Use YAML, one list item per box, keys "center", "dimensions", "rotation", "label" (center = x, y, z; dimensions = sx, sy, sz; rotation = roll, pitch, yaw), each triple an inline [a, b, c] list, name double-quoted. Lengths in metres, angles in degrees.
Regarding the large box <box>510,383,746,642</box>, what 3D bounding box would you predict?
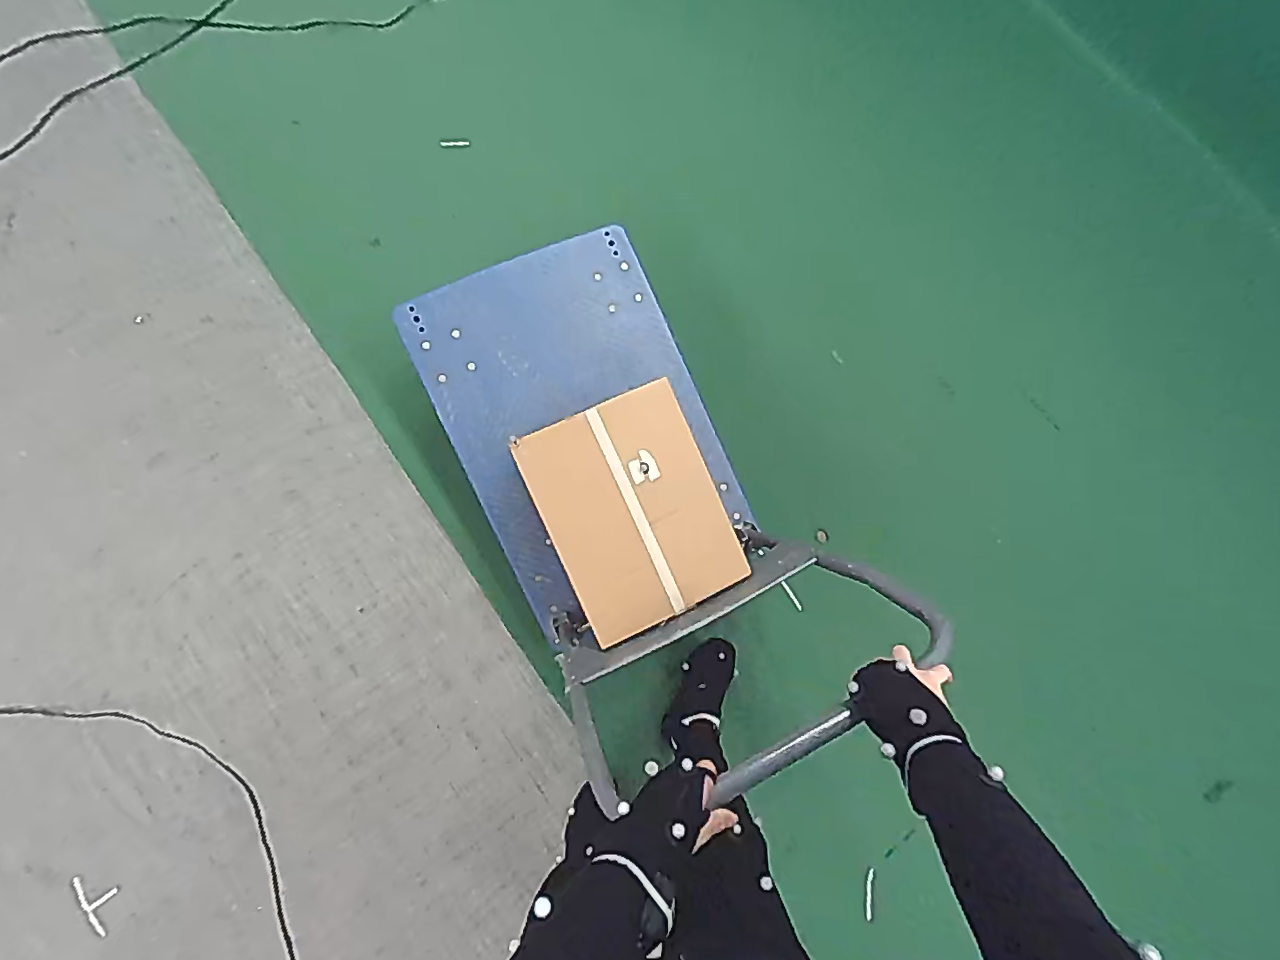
- center: [-0.037, 0.062, 1.148]
  dimensions: [0.320, 0.320, 0.408]
  rotation: [-25, 93, -10]
  label: "large box"
